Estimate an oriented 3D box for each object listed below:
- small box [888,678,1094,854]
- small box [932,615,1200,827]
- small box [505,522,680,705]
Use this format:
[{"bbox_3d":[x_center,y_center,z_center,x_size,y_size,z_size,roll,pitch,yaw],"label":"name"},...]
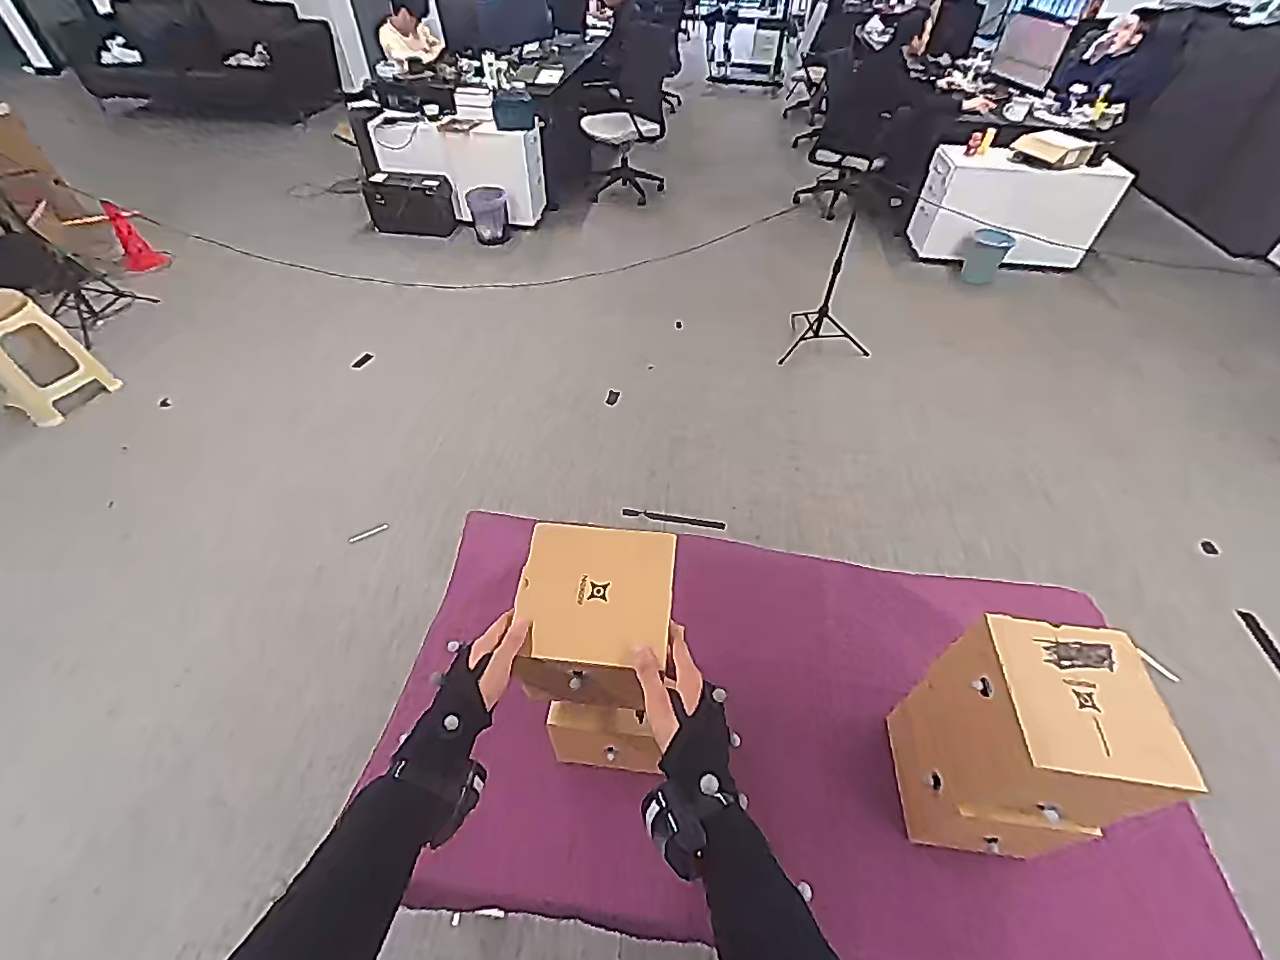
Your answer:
[{"bbox_3d":[0.475,0.409,0.769,0.168,0.176,0.179,7,48,4],"label":"small box"},{"bbox_3d":[0.482,0.292,0.654,0.168,0.176,0.179,7,48,5],"label":"small box"},{"bbox_3d":[-0.046,0.171,0.674,0.179,0.176,0.168,4,54,6],"label":"small box"}]
